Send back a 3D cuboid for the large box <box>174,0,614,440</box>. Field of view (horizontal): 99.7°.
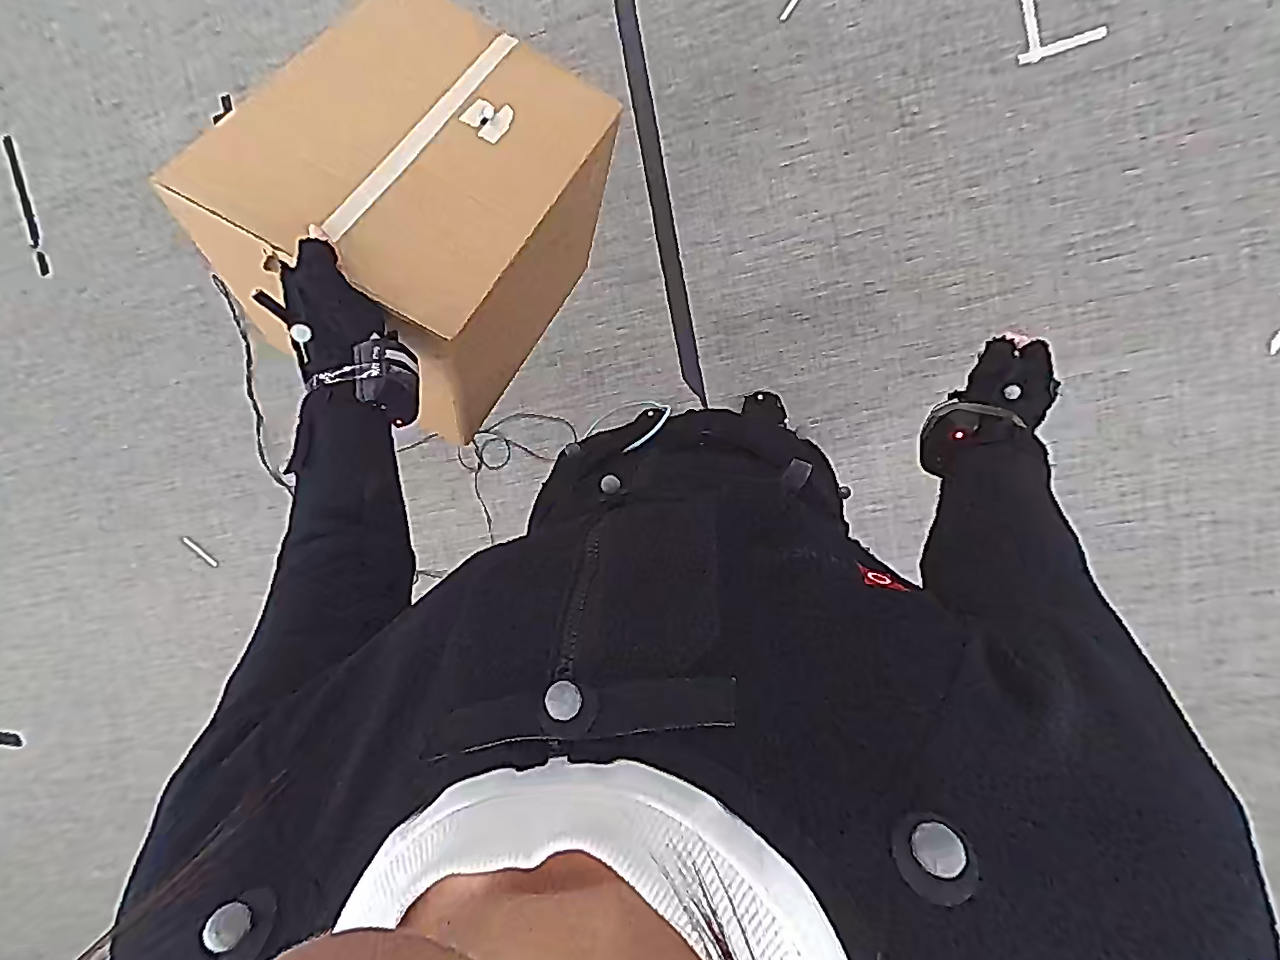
[{"bbox_3d":[-0.278,-0.332,0.742,0.320,0.320,0.408,28,67,-6],"label":"large box"}]
